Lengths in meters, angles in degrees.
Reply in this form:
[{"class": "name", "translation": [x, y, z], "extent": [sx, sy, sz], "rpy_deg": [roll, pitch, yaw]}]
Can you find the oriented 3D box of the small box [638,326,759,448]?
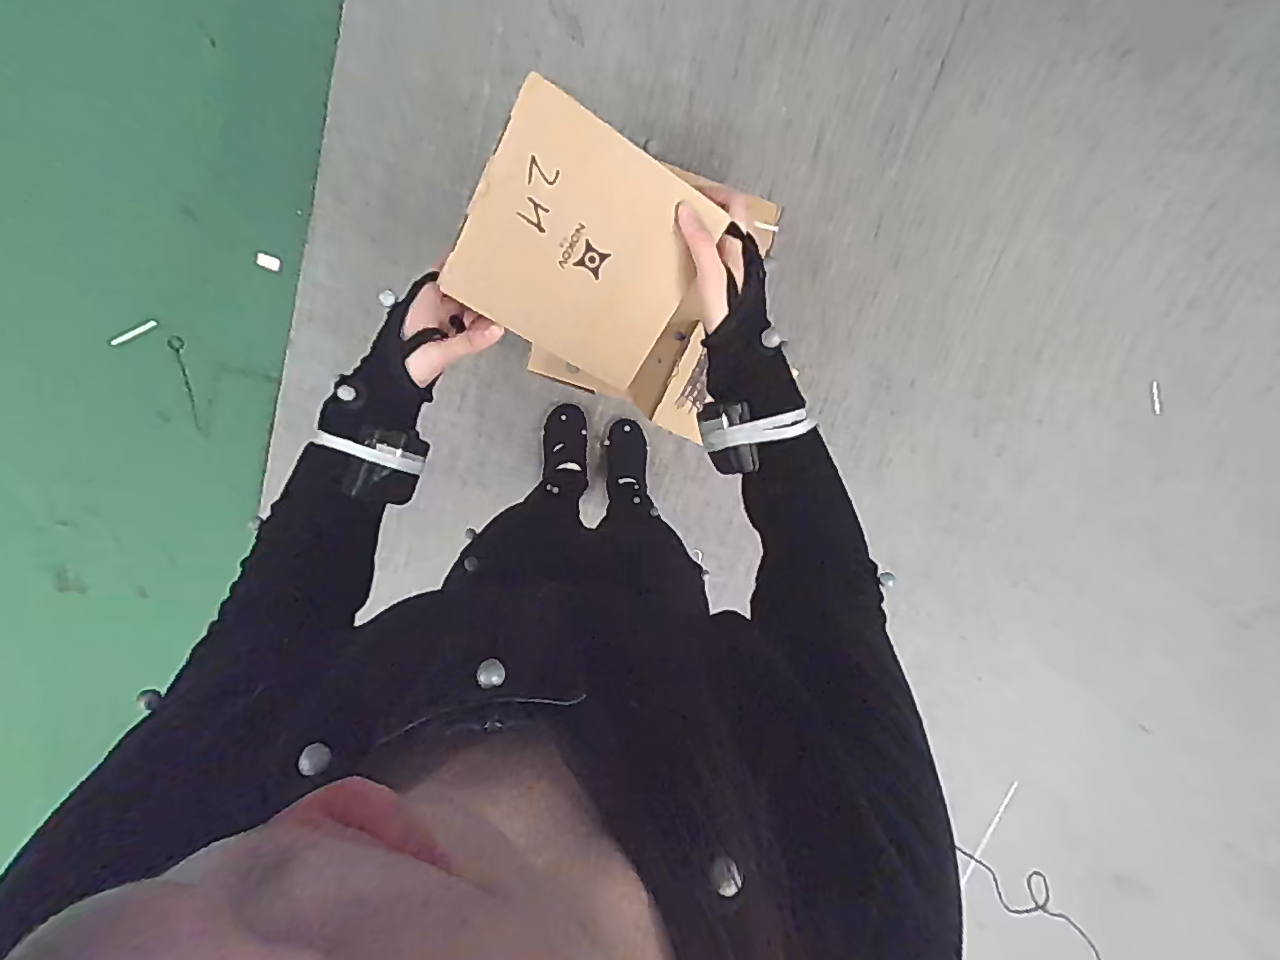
[{"class": "small box", "translation": [0.102, -0.182, 1.052], "extent": [0.168, 0.176, 0.179], "rpy_deg": [19, 100, -10]}]
